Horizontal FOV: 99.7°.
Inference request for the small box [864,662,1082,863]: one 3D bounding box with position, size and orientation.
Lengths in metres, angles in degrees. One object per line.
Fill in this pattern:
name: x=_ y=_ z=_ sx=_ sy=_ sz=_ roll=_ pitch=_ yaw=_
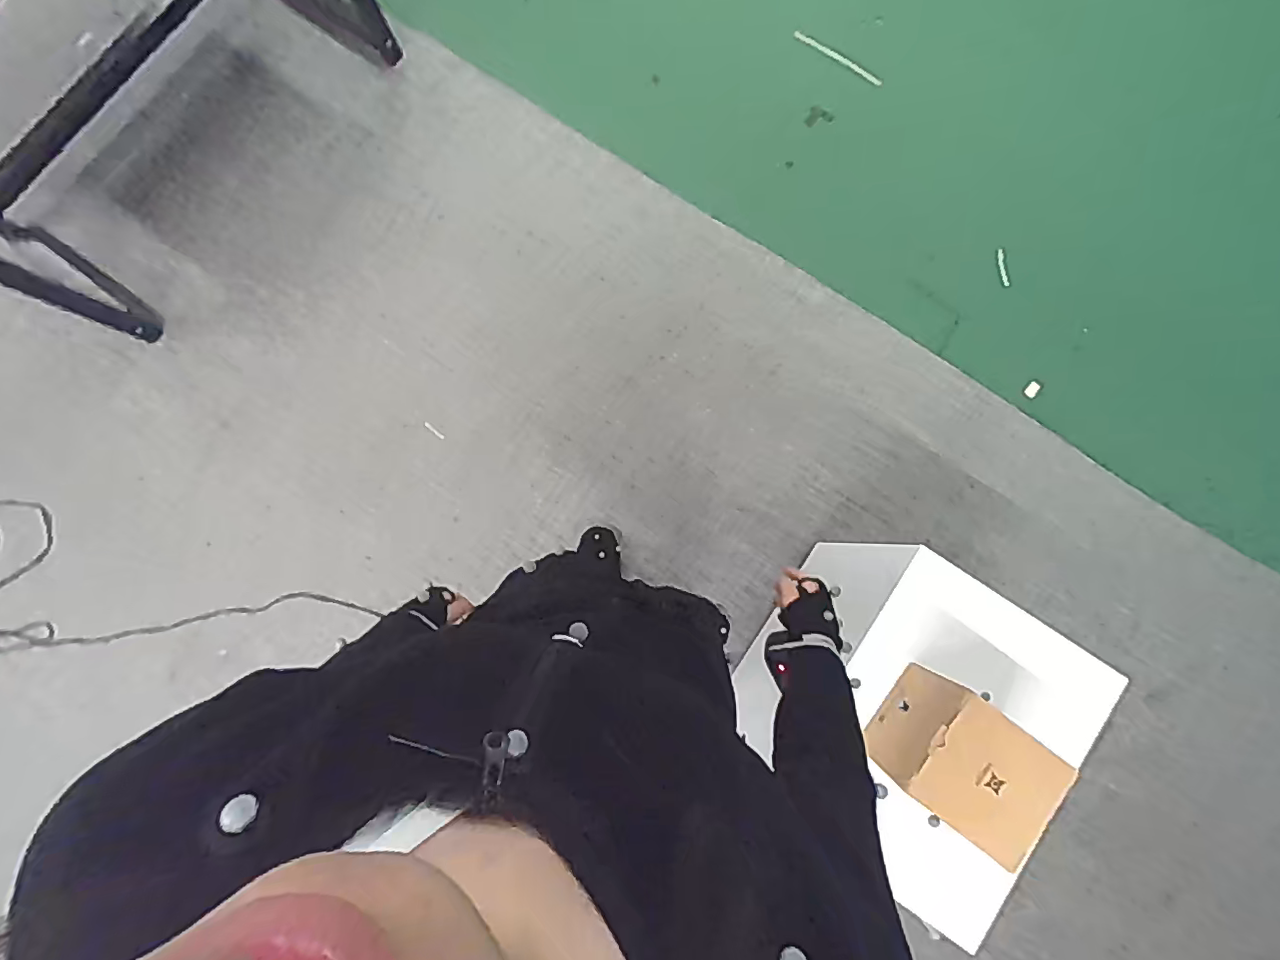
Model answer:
small box: x=0.474 y=0.397 z=0.798 sx=0.179 sy=0.176 sz=0.168 roll=37 pitch=86 yaw=4
